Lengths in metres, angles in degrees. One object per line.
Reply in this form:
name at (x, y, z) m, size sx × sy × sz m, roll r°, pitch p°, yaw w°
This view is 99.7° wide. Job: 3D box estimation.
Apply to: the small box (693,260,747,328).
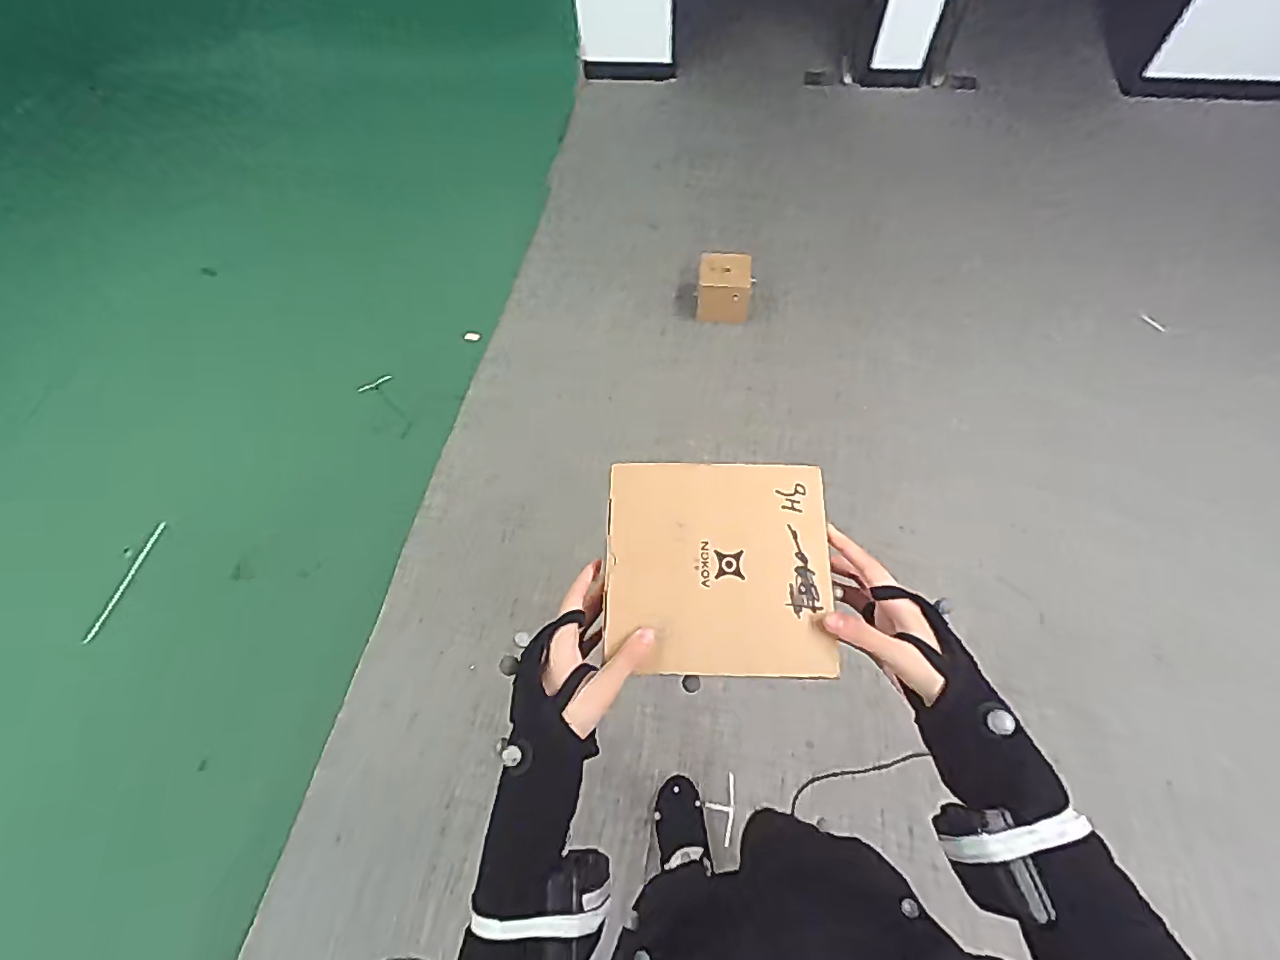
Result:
small box at (0.286, -0.669, 1.950) m, size 0.179 × 0.176 × 0.168 m, roll 3°, pitch 61°, yaw 6°
